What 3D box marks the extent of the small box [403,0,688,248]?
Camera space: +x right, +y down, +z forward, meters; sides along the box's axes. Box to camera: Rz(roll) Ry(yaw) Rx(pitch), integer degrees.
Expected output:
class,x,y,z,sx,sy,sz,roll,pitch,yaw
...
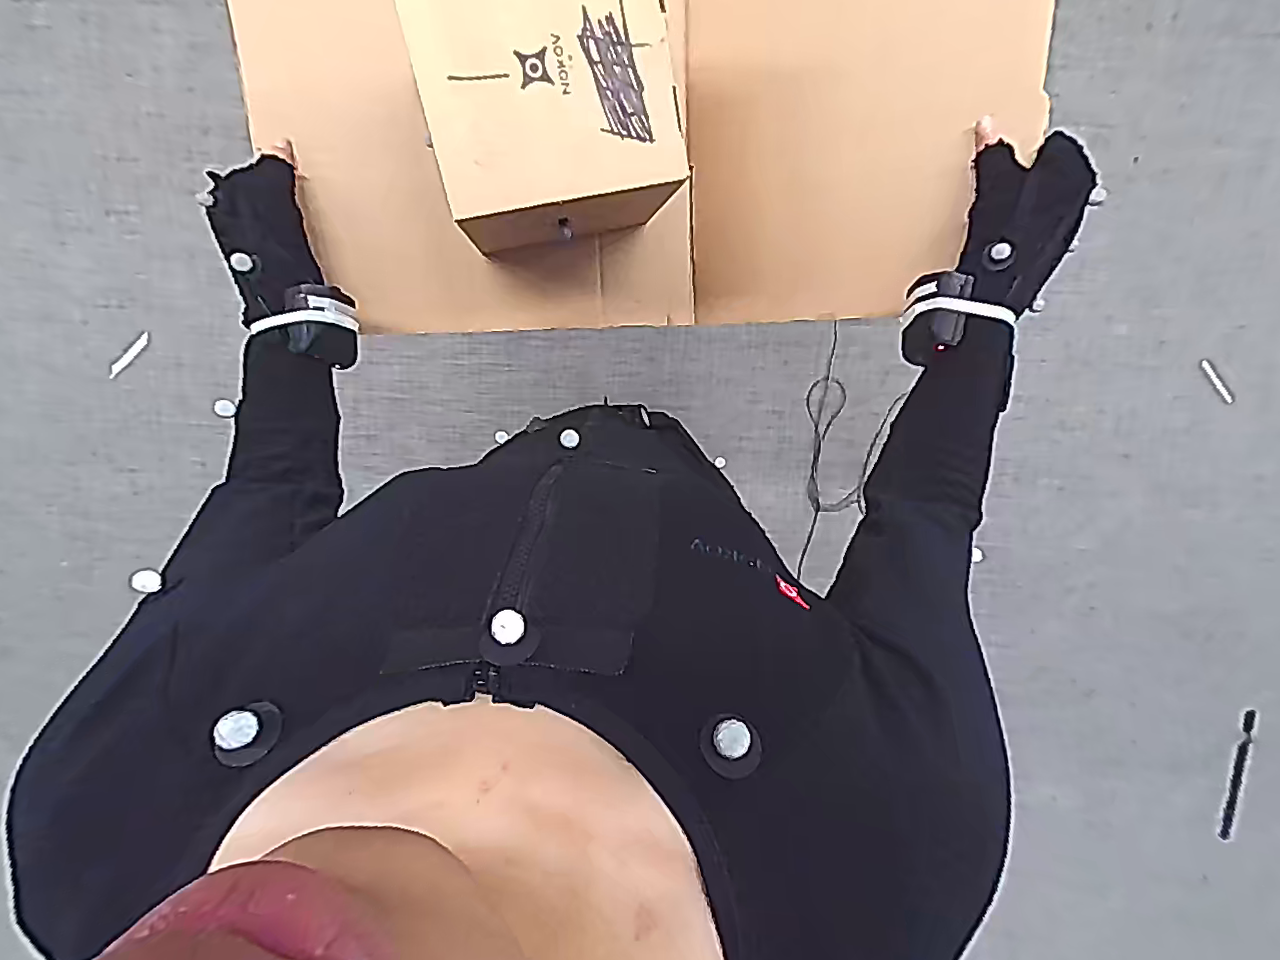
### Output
class,x,y,z,sx,sy,sz,roll,pitch,yaw
small box,-0.074,-0.303,0.451,0.179,0.176,0.168,-13,107,-6
